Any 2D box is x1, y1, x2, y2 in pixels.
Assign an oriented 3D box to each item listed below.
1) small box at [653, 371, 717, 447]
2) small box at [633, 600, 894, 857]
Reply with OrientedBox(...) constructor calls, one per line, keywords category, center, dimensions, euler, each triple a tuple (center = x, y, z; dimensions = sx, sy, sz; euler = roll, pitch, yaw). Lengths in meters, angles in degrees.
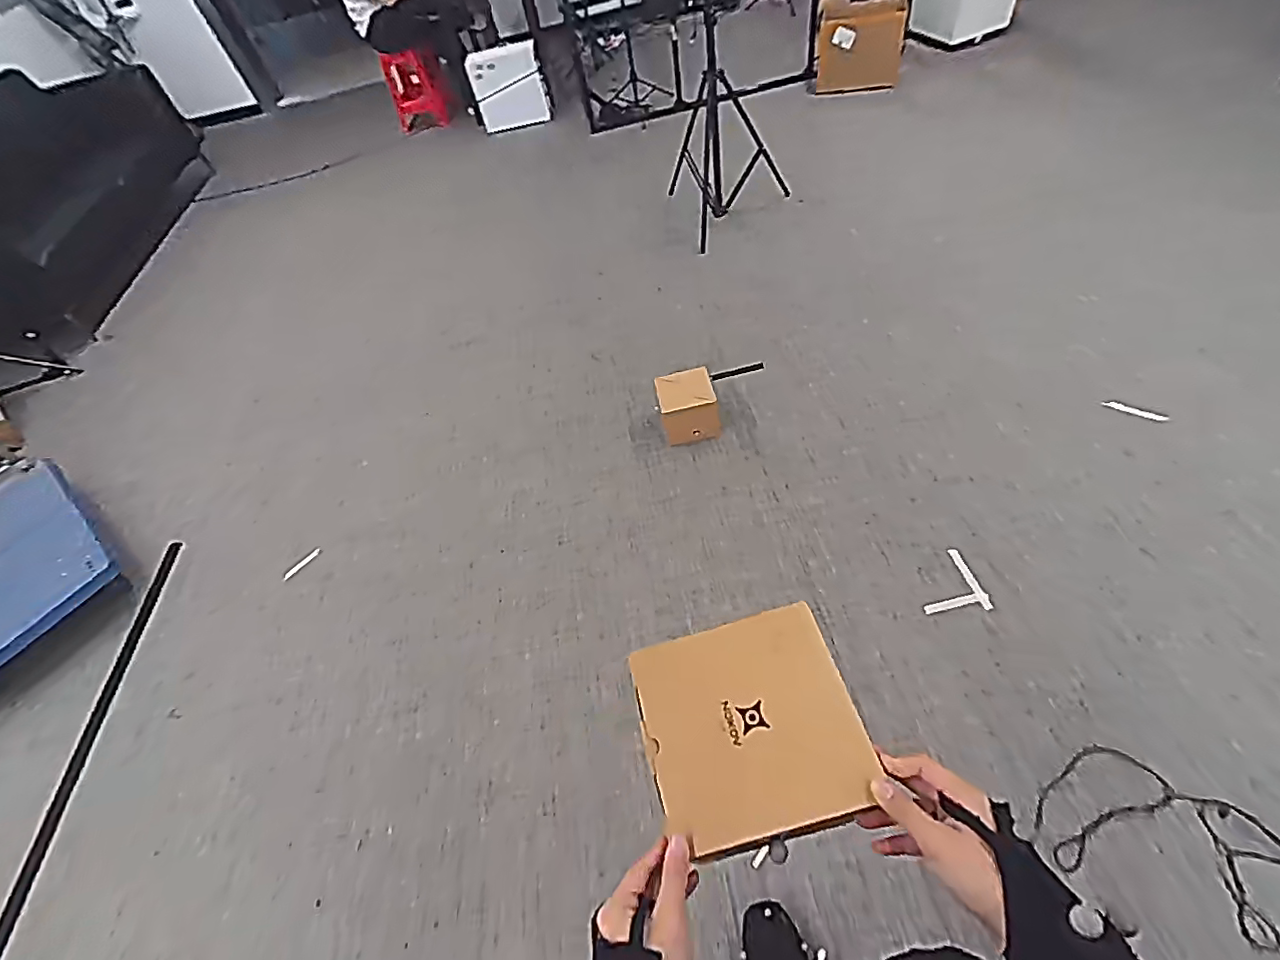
OrientedBox(category="small box", center=(0.149, -0.239, 1.786), dimensions=(0.179, 0.176, 0.168), euler=(-12, 52, 2))
OrientedBox(category="small box", center=(0.106, 0.241, 0.516), dimensions=(0.179, 0.176, 0.168), euler=(-17, 53, 2))
